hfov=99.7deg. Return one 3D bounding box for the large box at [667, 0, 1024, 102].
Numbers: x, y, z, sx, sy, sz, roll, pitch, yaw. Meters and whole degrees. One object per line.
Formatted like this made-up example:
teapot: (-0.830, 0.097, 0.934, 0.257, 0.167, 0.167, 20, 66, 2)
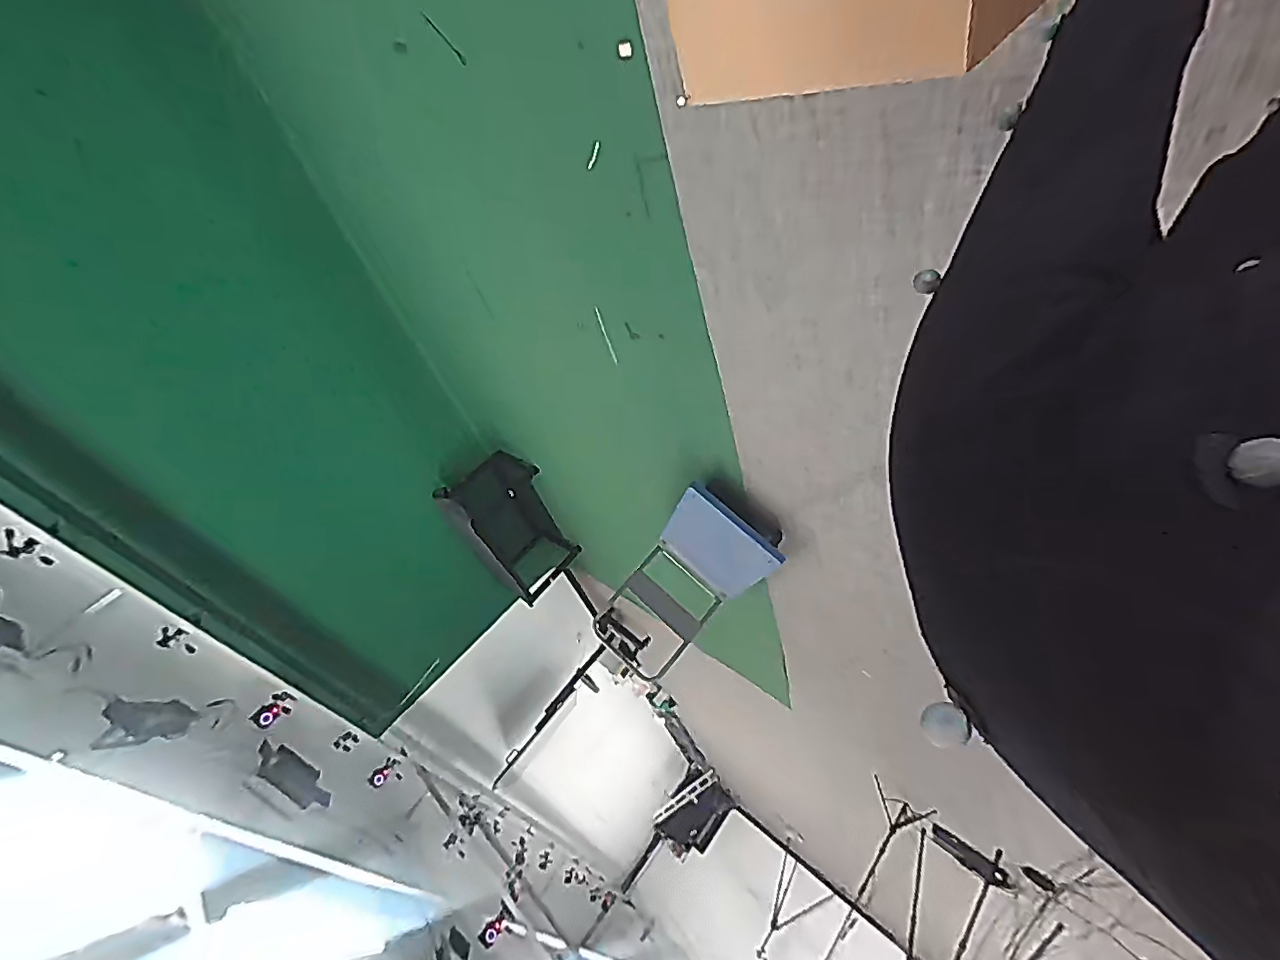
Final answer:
large box: (0.268, -0.726, 0.668, 0.408, 0.320, 0.320, 26, 153, 38)
